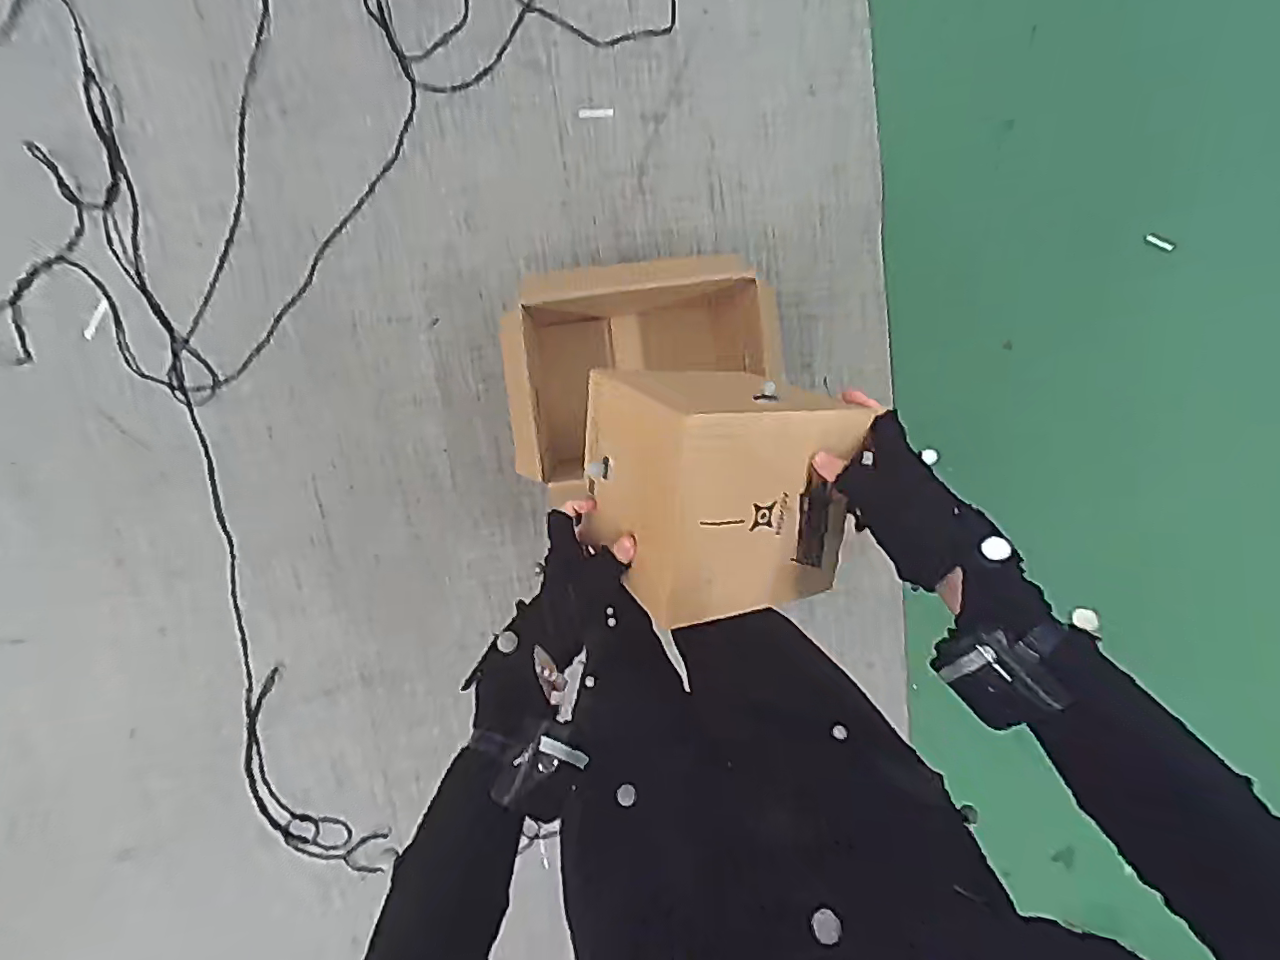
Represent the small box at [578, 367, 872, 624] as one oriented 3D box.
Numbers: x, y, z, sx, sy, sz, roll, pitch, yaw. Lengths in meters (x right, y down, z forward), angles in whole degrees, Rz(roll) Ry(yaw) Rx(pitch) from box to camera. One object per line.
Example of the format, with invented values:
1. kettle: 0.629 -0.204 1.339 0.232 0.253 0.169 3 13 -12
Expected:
1. small box: 0.061 -0.004 0.473 0.179 0.176 0.168 -5 112 -26
